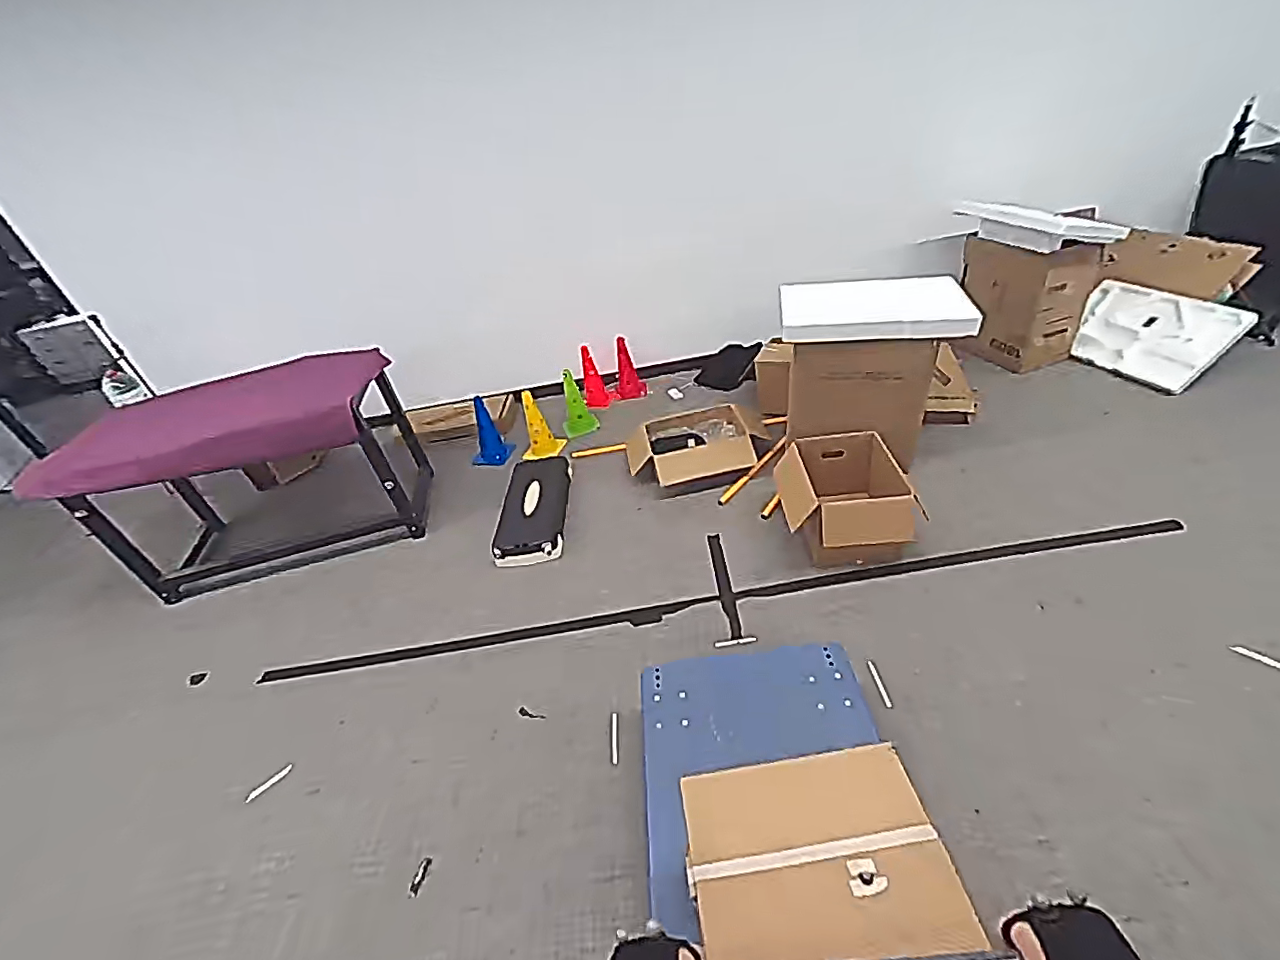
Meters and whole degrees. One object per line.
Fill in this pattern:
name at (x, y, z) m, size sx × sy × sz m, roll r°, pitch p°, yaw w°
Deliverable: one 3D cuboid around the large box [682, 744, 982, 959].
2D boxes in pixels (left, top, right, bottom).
large box at (0.308, 0.742, 0.986) m, size 0.408 × 0.320 × 0.320 m, roll -10°, pitch 36°, yaw 0°
